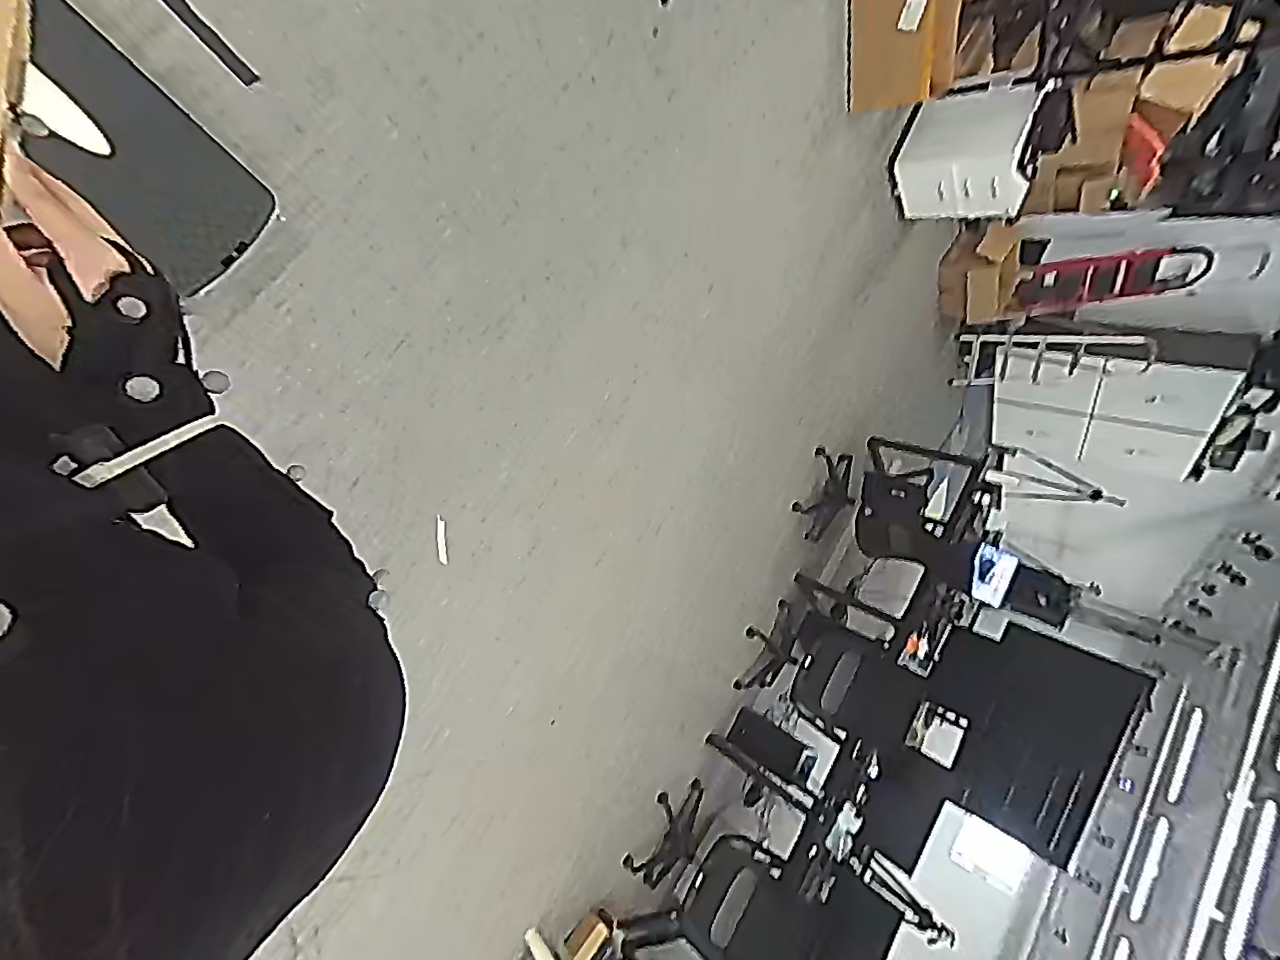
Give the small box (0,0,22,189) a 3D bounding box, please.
[{"bbox_3d":[-0.463,-0.237,0.286,0.168,0.176,0.179,9,83,-50],"label":"small box"}]
